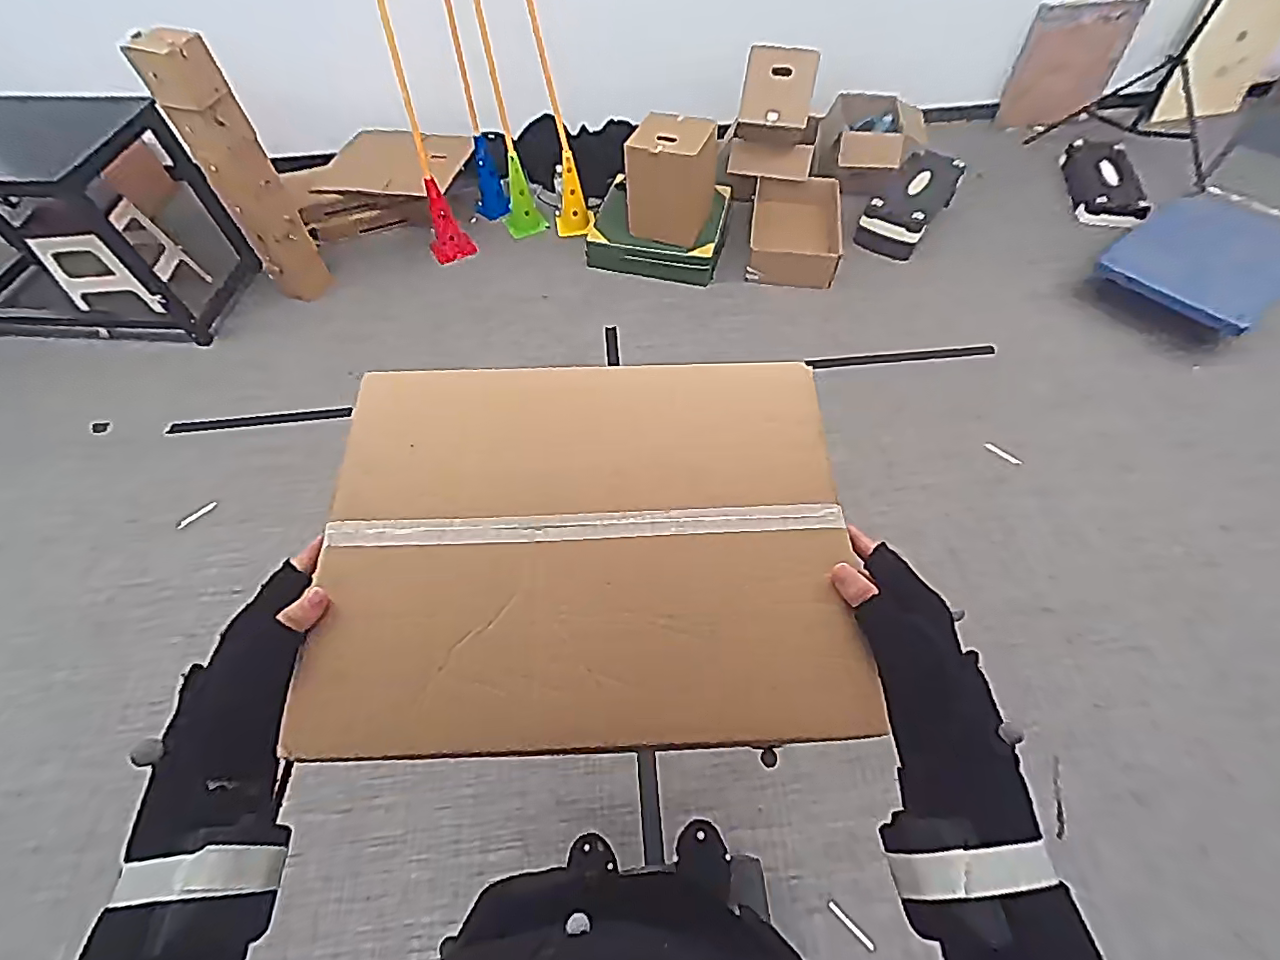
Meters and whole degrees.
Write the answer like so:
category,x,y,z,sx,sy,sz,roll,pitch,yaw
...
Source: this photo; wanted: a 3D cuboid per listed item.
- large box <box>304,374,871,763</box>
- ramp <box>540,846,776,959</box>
category,x,y,z,sx,sy,sz,roll,pitch,yaw
large box,-0.040,0.110,0.572,0.408,0.320,0.320,-2,63,-1
ramp,0.073,1.297,1.010,0.509,0.206,0.991,-6,58,-4
